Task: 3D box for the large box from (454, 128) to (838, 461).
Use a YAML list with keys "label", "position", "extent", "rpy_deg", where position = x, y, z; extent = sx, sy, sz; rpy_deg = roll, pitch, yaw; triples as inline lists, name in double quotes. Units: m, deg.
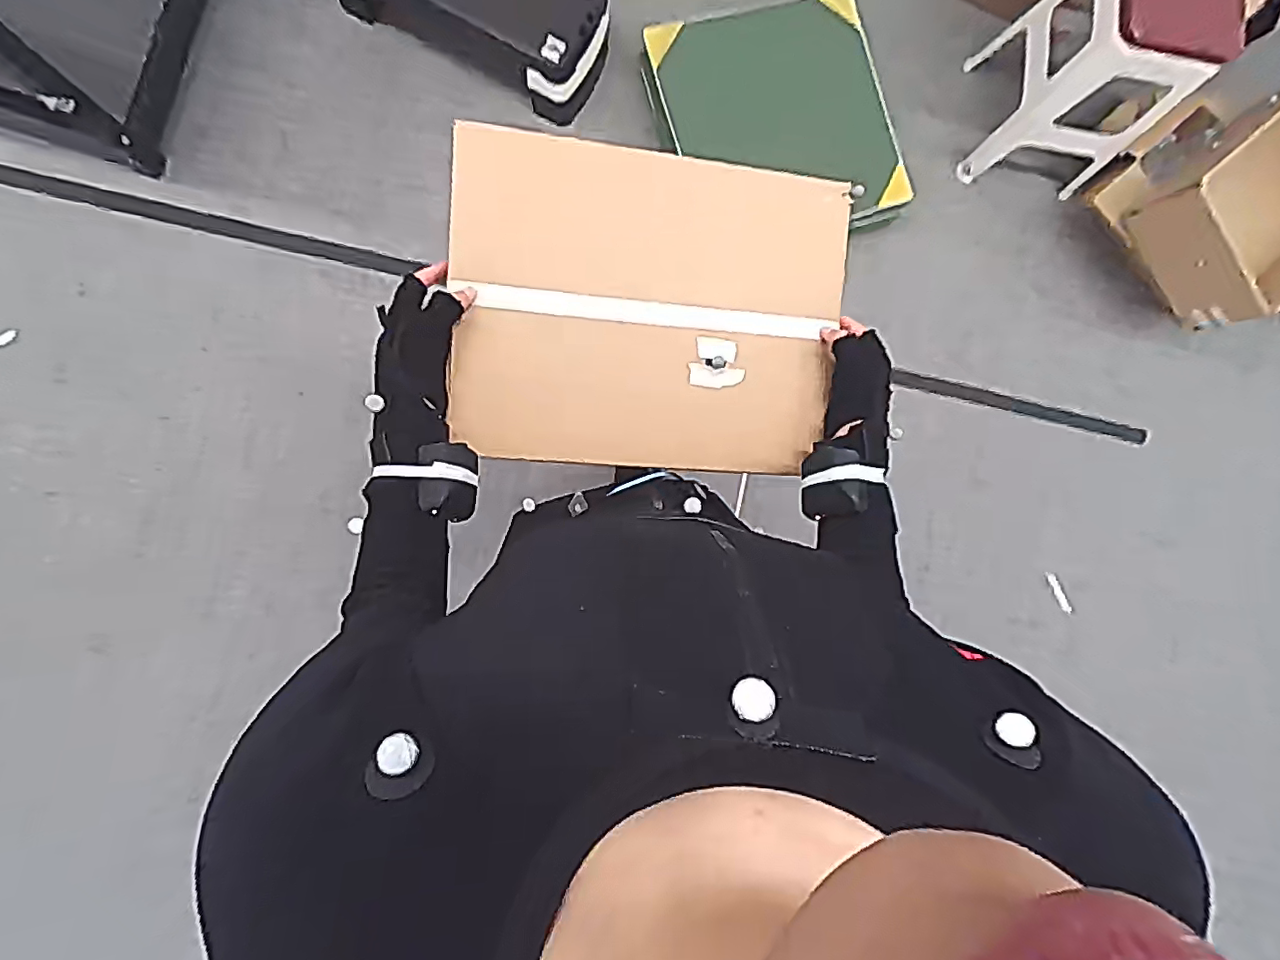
- label: "large box"
  position: [-0.014, -0.194, 0.713]
  extent: [0.408, 0.320, 0.320]
  rpy_deg: [3, 95, -11]
